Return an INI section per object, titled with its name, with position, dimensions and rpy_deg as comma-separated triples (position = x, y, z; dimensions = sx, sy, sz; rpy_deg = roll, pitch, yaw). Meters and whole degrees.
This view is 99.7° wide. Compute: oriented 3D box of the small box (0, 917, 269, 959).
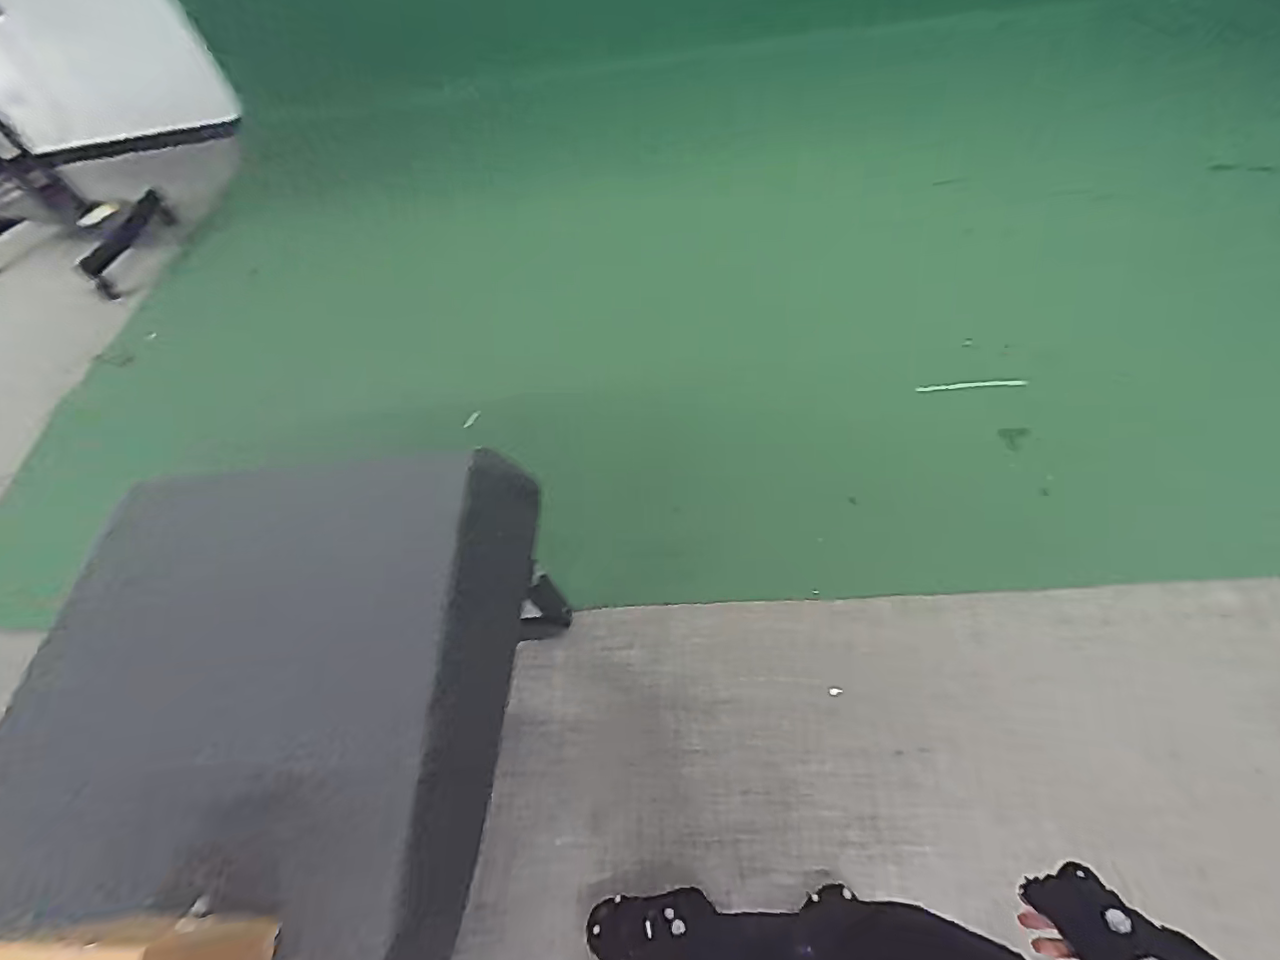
[small box]
position = -0.468, 0.501, 0.463
dimensions = 0.168, 0.176, 0.179
rpy_deg = -4, 57, 5
